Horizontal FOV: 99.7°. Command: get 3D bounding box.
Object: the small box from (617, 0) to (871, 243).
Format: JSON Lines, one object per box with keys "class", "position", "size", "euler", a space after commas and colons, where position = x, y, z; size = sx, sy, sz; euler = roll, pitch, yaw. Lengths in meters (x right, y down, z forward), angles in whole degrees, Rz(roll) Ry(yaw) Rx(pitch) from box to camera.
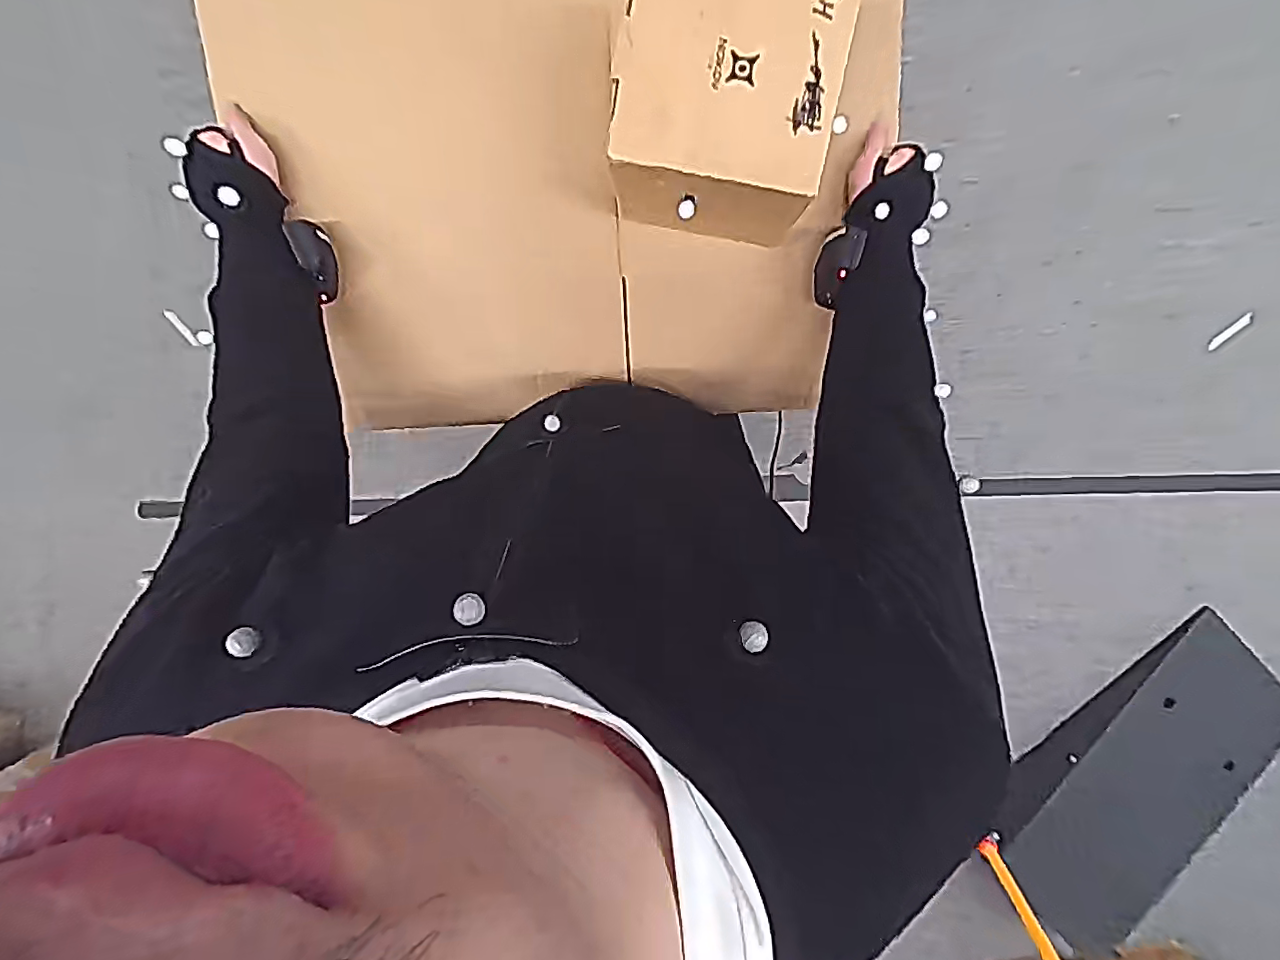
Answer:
{"class": "small box", "position": [0.086, -0.338, 0.508], "size": [0.179, 0.176, 0.168], "euler": [12, 101, 2]}
